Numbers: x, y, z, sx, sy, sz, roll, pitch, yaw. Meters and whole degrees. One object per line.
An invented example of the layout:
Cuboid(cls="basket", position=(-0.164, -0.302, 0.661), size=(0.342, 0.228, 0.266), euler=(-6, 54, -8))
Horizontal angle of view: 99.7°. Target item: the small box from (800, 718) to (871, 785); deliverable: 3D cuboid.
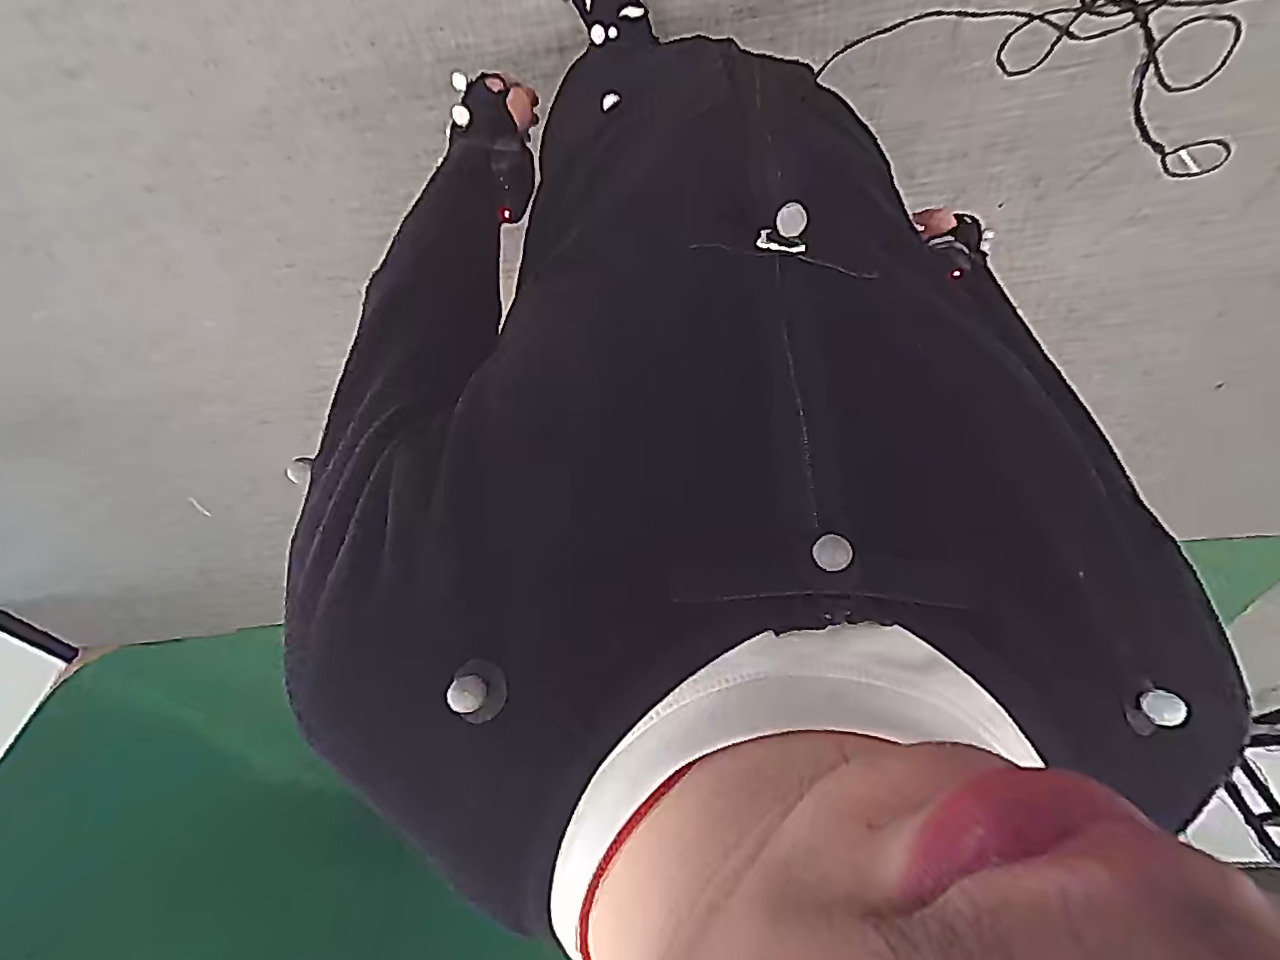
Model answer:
Cuboid(cls="small box", position=(0.663, 0.935, 1.860), size=(0.179, 0.176, 0.168), euler=(-4, 138, 2))
